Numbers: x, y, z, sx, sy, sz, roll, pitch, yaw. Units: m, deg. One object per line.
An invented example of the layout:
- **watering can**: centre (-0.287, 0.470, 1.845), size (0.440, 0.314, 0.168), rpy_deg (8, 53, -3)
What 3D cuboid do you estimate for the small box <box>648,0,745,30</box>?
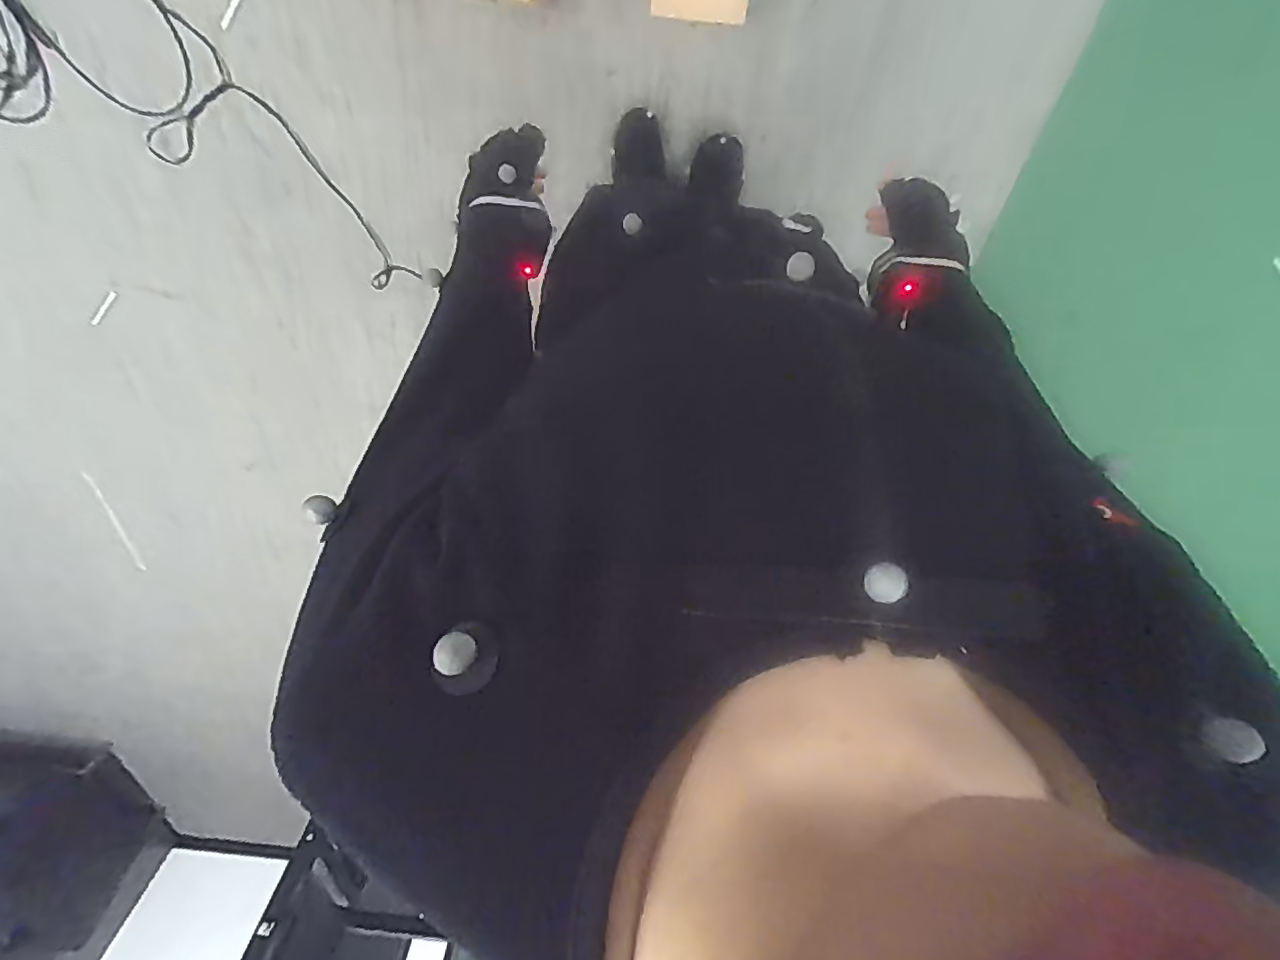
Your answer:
- **small box**: centre (0.107, -0.910, 0.944), size (0.168, 0.176, 0.179), rpy_deg (5, 127, -1)
